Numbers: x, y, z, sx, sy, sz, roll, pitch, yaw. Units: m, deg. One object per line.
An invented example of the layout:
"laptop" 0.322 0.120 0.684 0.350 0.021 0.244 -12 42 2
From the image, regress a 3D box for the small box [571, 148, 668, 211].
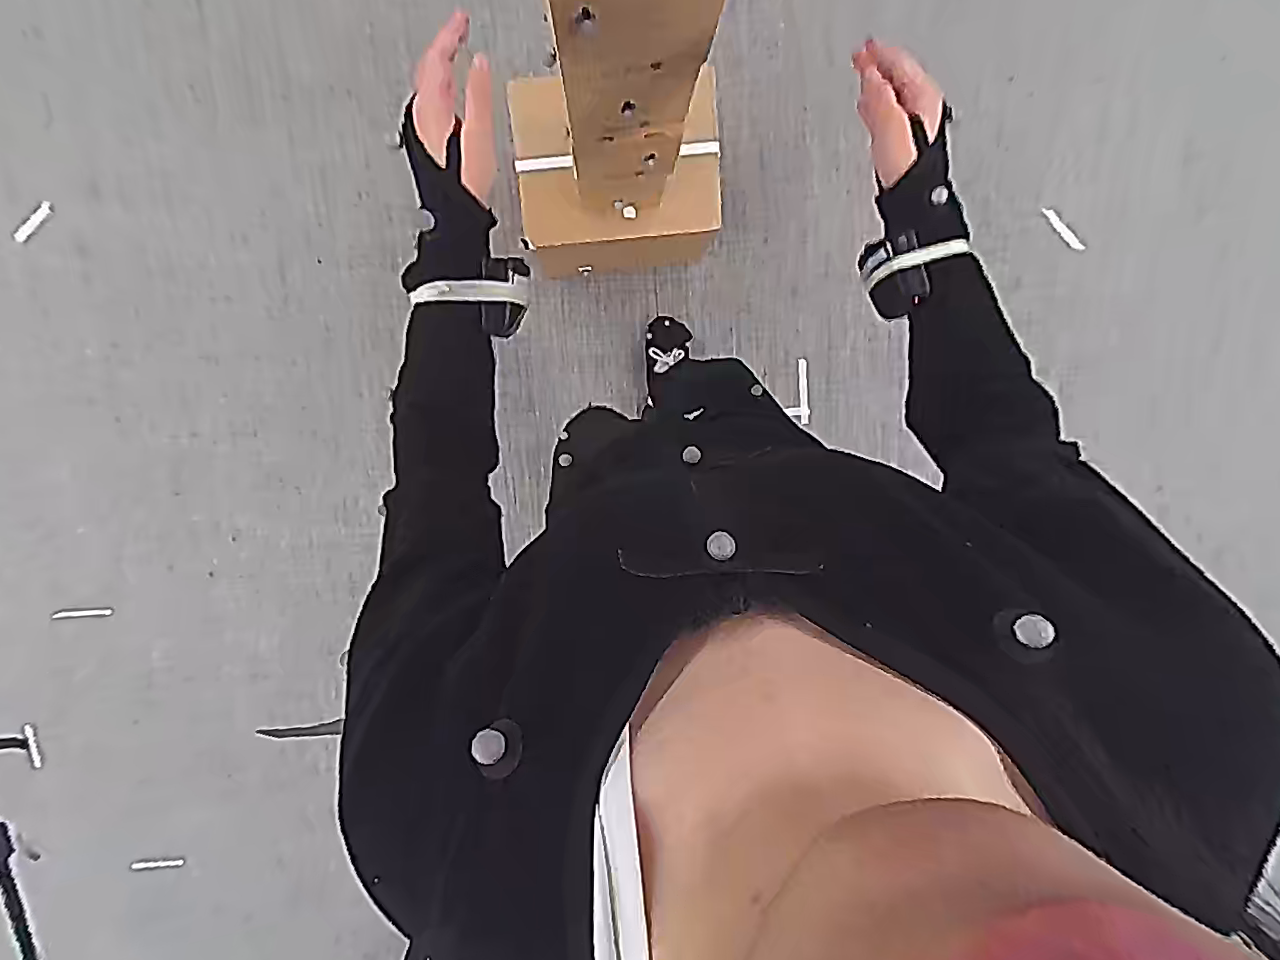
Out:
"small box" -0.044 -0.619 0.997 0.168 0.176 0.179 -6 101 -1

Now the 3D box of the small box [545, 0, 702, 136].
"small box" -0.027 -0.560 0.676 0.168 0.176 0.179 -12 101 -2

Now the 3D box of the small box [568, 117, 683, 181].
"small box" -0.031 -0.586 0.839 0.168 0.176 0.179 -8 99 -2
